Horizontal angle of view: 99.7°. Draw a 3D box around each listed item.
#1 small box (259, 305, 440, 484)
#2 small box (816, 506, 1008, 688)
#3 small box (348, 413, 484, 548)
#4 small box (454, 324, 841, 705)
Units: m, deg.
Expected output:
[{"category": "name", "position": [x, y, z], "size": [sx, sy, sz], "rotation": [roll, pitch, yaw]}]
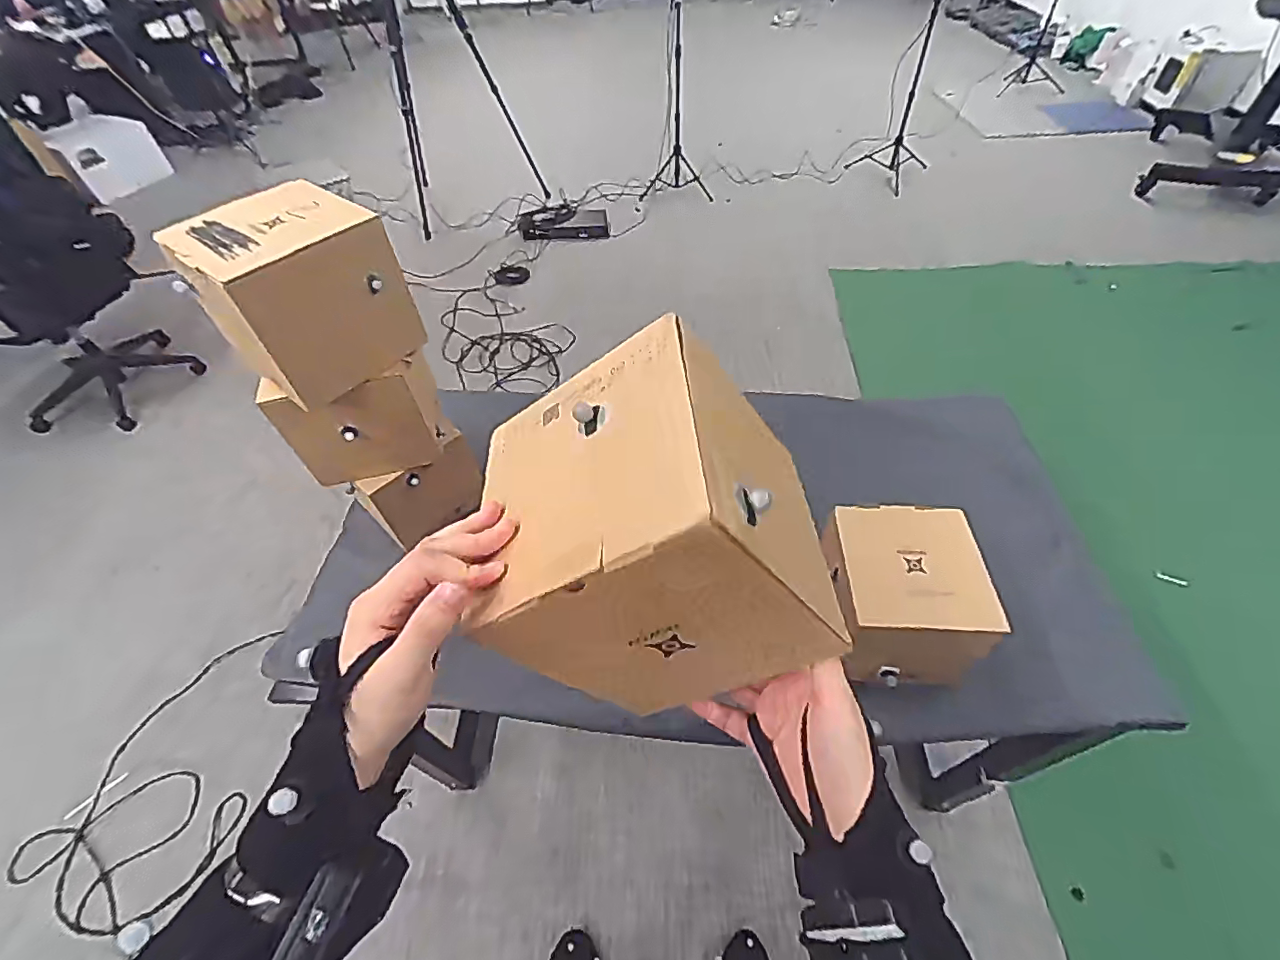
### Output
[{"category": "small box", "position": [-0.396, -0.119, 0.774], "size": [0.179, 0.176, 0.168], "rotation": [-14, 52, -7]}, {"category": "small box", "position": [0.335, 0.154, 0.715], "size": [0.168, 0.176, 0.179], "rotation": [1, 50, 5]}, {"category": "small box", "position": [-0.388, -0.018, 0.905], "size": [0.179, 0.176, 0.168], "rotation": [35, 61, 27]}, {"category": "small box", "position": [0.009, 0.033, 0.367], "size": [0.168, 0.179, 0.176], "rotation": [-28, 44, 27]}]
